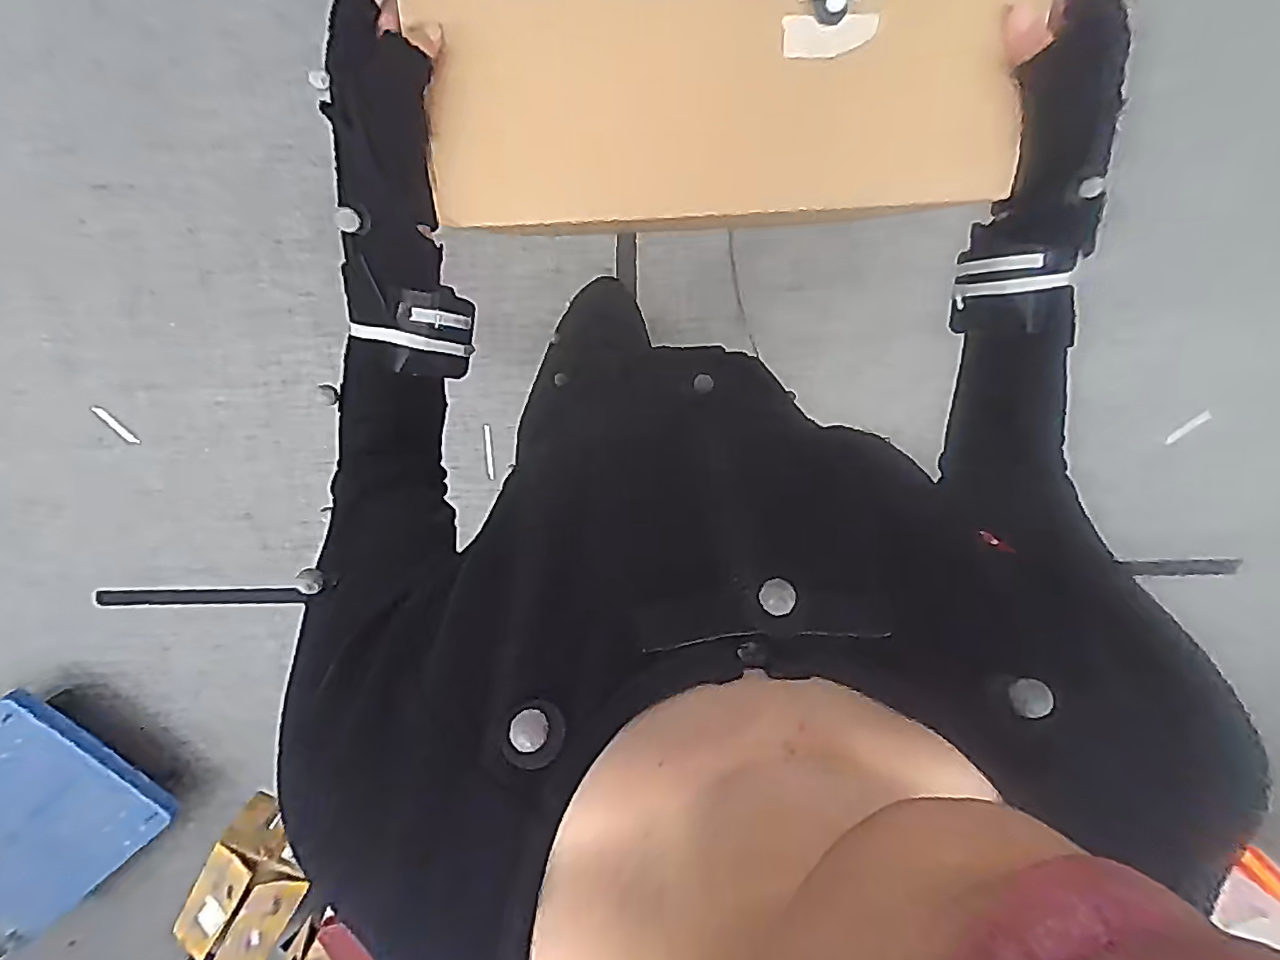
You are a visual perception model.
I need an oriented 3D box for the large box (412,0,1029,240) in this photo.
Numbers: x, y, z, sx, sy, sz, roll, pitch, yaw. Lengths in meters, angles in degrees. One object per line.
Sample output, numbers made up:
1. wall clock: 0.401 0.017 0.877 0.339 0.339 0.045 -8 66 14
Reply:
1. large box: 0.047 -0.396 0.471 0.408 0.320 0.320 -3 113 1
